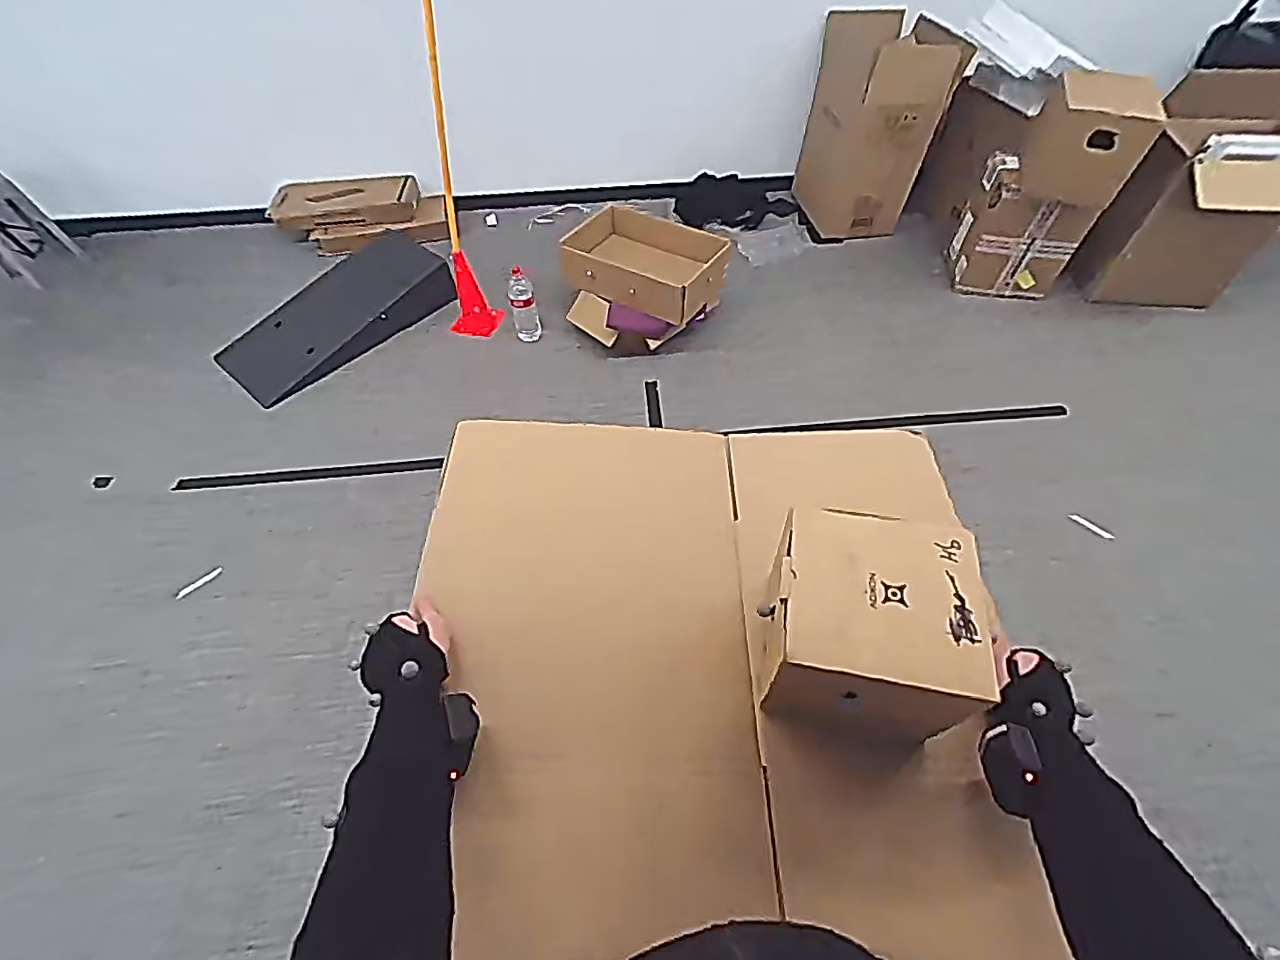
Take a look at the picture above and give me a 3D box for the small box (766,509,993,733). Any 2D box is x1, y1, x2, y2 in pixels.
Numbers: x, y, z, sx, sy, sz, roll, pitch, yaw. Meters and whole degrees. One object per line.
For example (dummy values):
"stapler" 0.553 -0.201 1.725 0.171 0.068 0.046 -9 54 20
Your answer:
"small box" 0.232 0.152 0.570 0.179 0.176 0.168 7 56 11
